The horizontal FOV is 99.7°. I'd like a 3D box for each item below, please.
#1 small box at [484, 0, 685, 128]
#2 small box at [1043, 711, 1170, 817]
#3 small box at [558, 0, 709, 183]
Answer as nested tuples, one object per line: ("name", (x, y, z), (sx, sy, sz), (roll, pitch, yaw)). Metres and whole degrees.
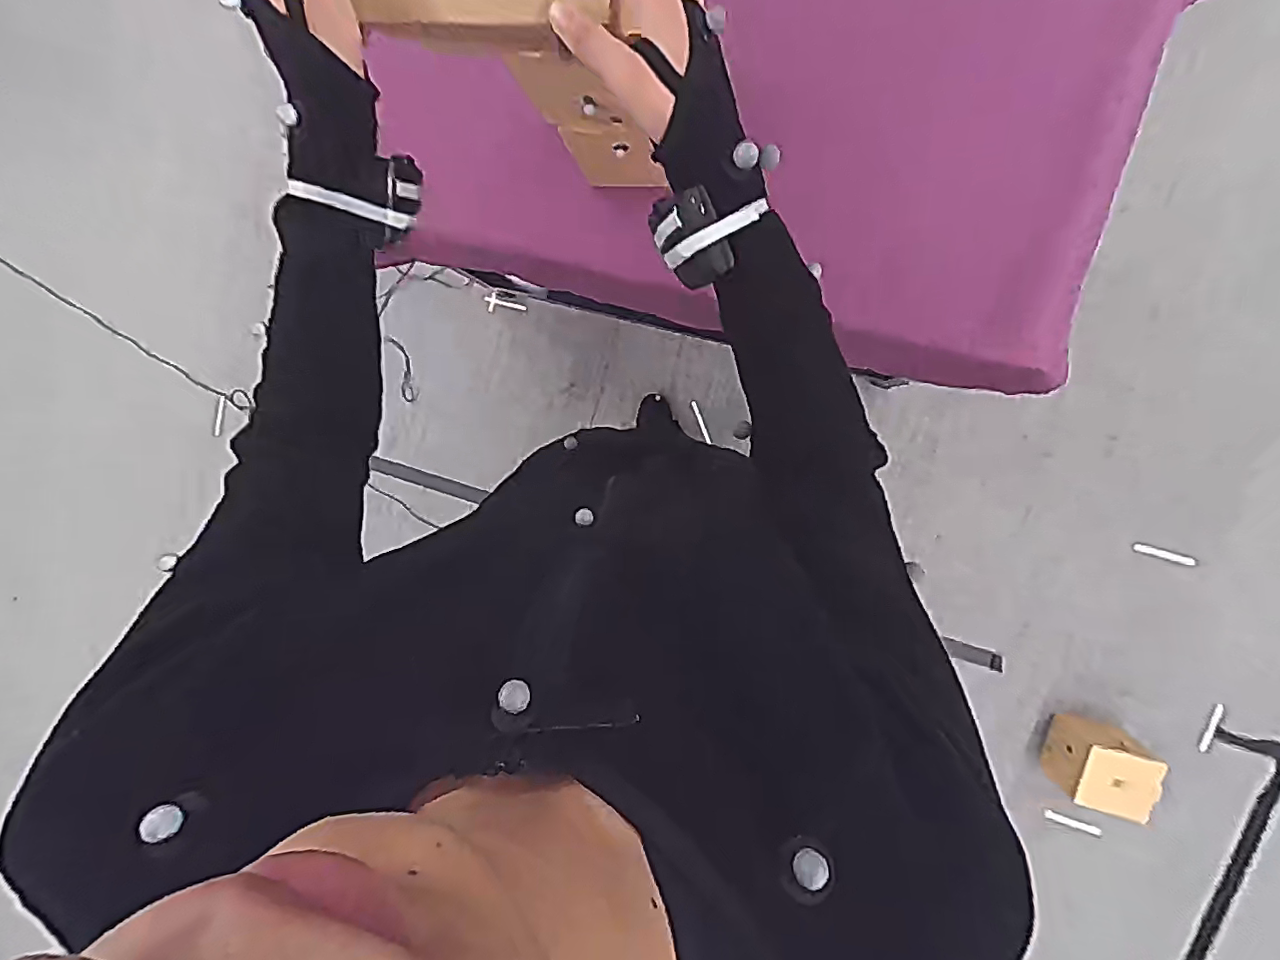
("small box", (-0.046, -0.523, 0.584), (0.168, 0.176, 0.179), (11, 98, 9))
("small box", (1.219, 0.739, 1.430), (0.179, 0.176, 0.168), (12, 98, 8))
("small box", (-0.001, -0.529, 0.744), (0.179, 0.176, 0.168), (5, 97, 8))
